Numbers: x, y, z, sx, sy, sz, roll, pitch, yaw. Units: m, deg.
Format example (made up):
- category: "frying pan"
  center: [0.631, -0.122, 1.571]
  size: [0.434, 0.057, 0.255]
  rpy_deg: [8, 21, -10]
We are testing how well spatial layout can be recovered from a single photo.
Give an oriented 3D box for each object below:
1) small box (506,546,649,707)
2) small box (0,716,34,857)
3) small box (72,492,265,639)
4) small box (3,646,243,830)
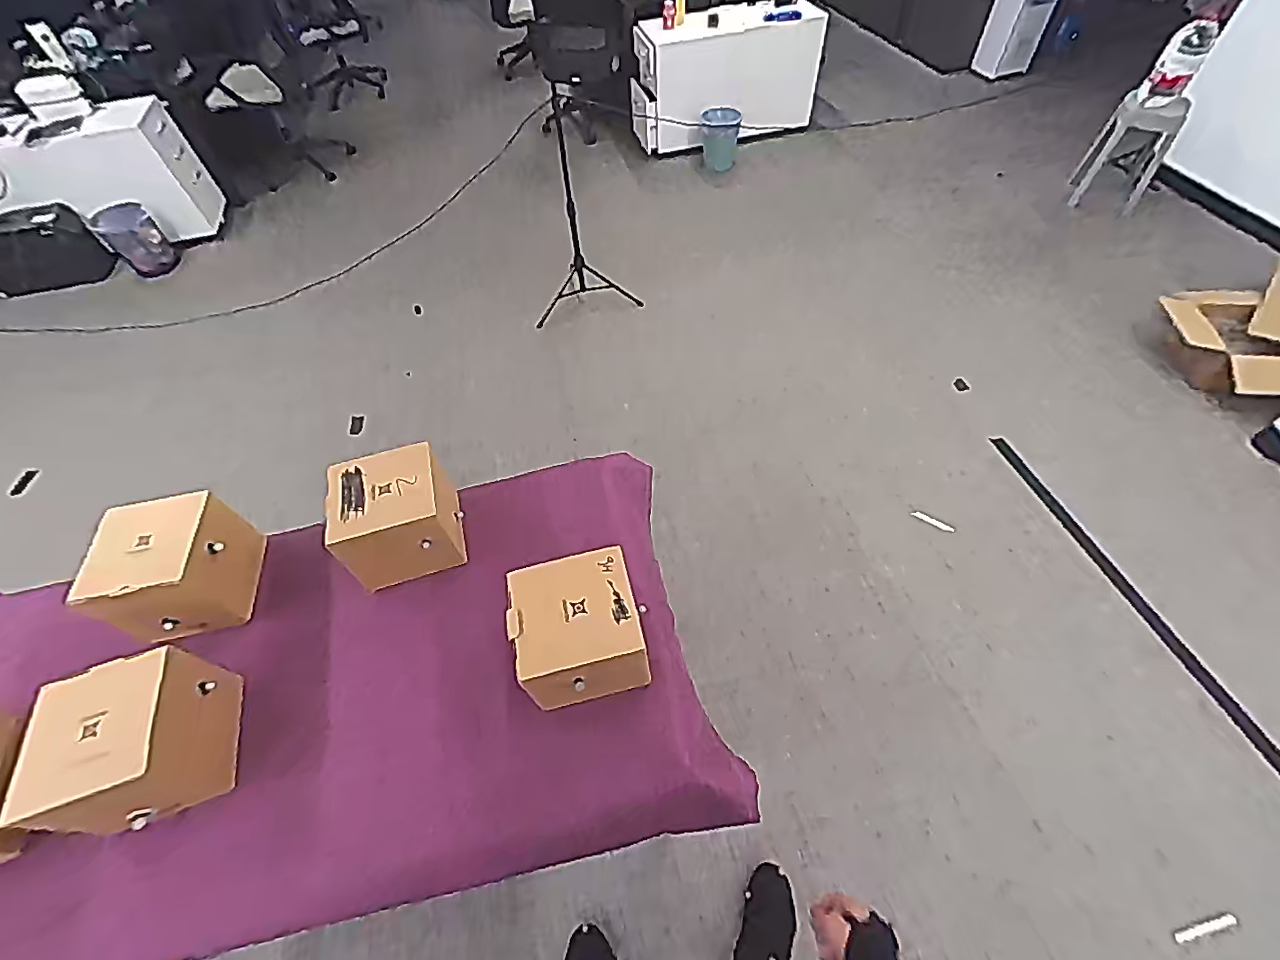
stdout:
- category: "small box"
  center: [-0.091, 0.229, 0.825]
  size: [0.179, 0.176, 0.168]
  rpy_deg: [-13, 55, -4]
- category: "small box"
  center: [-0.971, 0.432, 0.738]
  size: [0.168, 0.176, 0.179]
  rpy_deg: [-15, 53, -7]
- category: "small box"
  center: [-0.785, 0.149, 0.928]
  size: [0.168, 0.176, 0.179]
  rpy_deg: [-11, 55, -5]
- category: "small box"
  center: [-0.705, 0.369, 0.769]
  size: [0.168, 0.176, 0.179]
  rpy_deg: [-18, 55, -8]
